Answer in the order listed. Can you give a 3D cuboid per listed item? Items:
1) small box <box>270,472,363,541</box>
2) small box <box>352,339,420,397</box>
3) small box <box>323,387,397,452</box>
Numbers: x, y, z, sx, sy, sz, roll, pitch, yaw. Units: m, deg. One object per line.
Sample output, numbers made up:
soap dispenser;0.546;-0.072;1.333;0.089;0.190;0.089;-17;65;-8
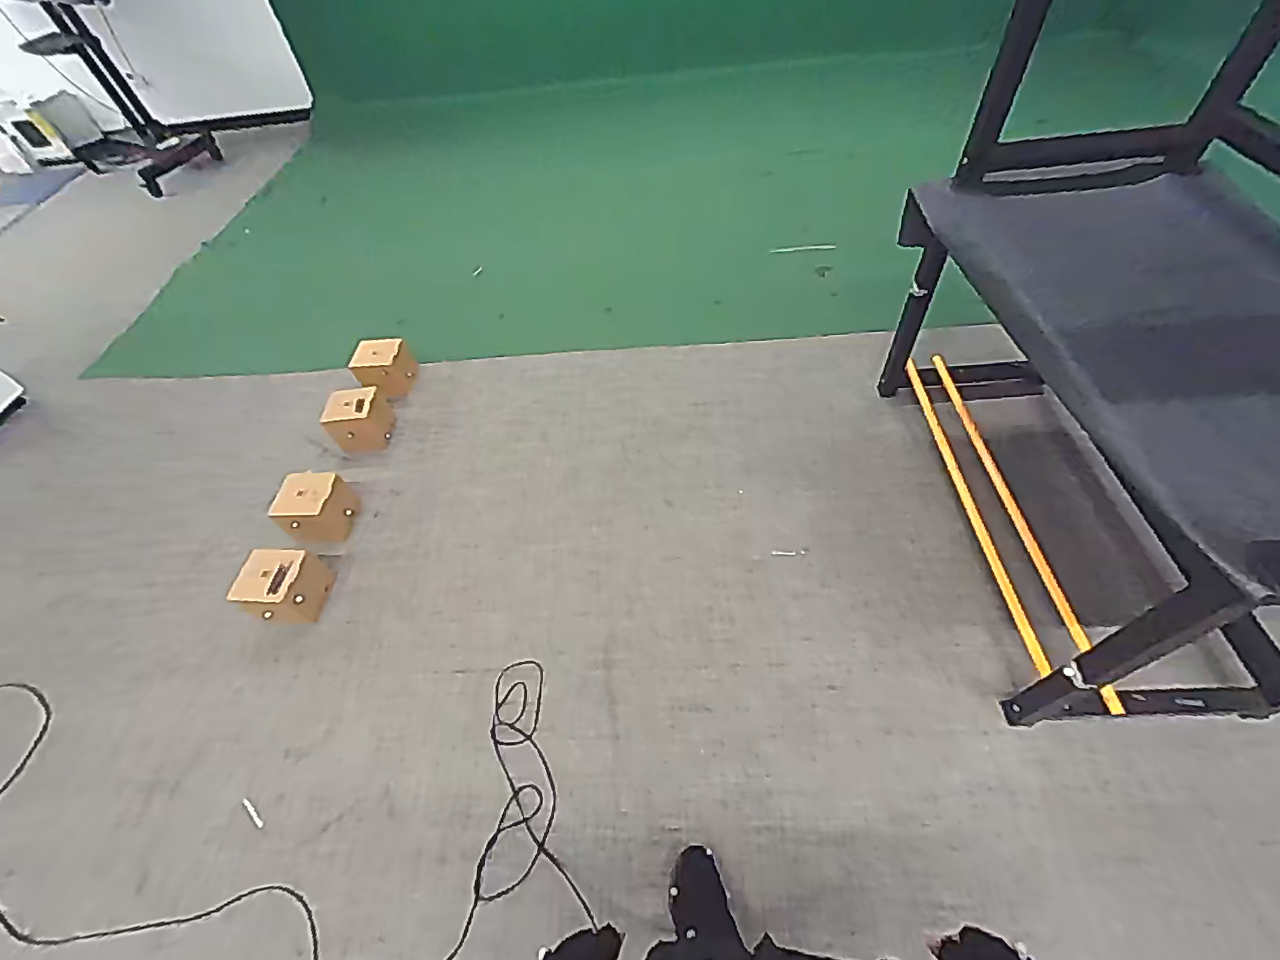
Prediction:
small box;-1.060;0.091;1.790;0.179;0.176;0.168;-1;53;5
small box;-1.035;-0.456;2.219;0.179;0.176;0.168;-3;53;4
small box;-1.045;-0.225;2.038;0.179;0.176;0.168;-6;51;2
